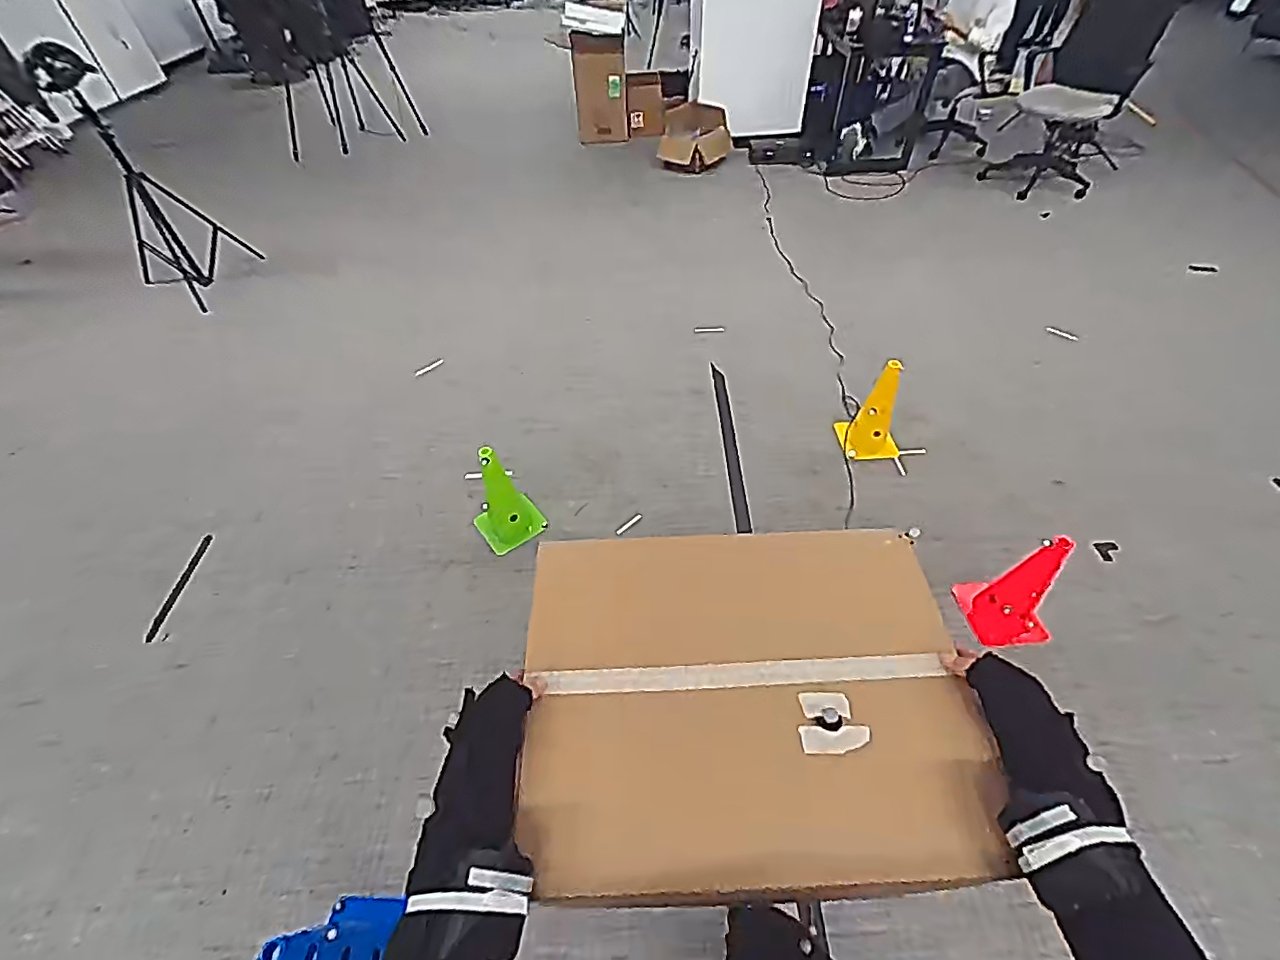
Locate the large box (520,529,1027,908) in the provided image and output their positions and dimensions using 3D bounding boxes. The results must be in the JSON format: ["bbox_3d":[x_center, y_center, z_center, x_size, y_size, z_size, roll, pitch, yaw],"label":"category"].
[{"bbox_3d":[0.098,0.277,0.621,0.408,0.320,0.320,-2,50,-1],"label":"large box"}]

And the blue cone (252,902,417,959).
[{"bbox_3d":[-0.578,0.886,0.996,0.192,0.380,0.193,-1,48,4],"label":"blue cone"}]

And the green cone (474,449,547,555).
[{"bbox_3d":[-0.456,0.034,1.731,0.202,0.368,0.200,-33,54,-22],"label":"green cone"}]

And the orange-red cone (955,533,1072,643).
[{"bbox_3d":[1.037,0.261,1.444,0.198,0.360,0.199,-4,47,-2],"label":"orange-red cone"}]
